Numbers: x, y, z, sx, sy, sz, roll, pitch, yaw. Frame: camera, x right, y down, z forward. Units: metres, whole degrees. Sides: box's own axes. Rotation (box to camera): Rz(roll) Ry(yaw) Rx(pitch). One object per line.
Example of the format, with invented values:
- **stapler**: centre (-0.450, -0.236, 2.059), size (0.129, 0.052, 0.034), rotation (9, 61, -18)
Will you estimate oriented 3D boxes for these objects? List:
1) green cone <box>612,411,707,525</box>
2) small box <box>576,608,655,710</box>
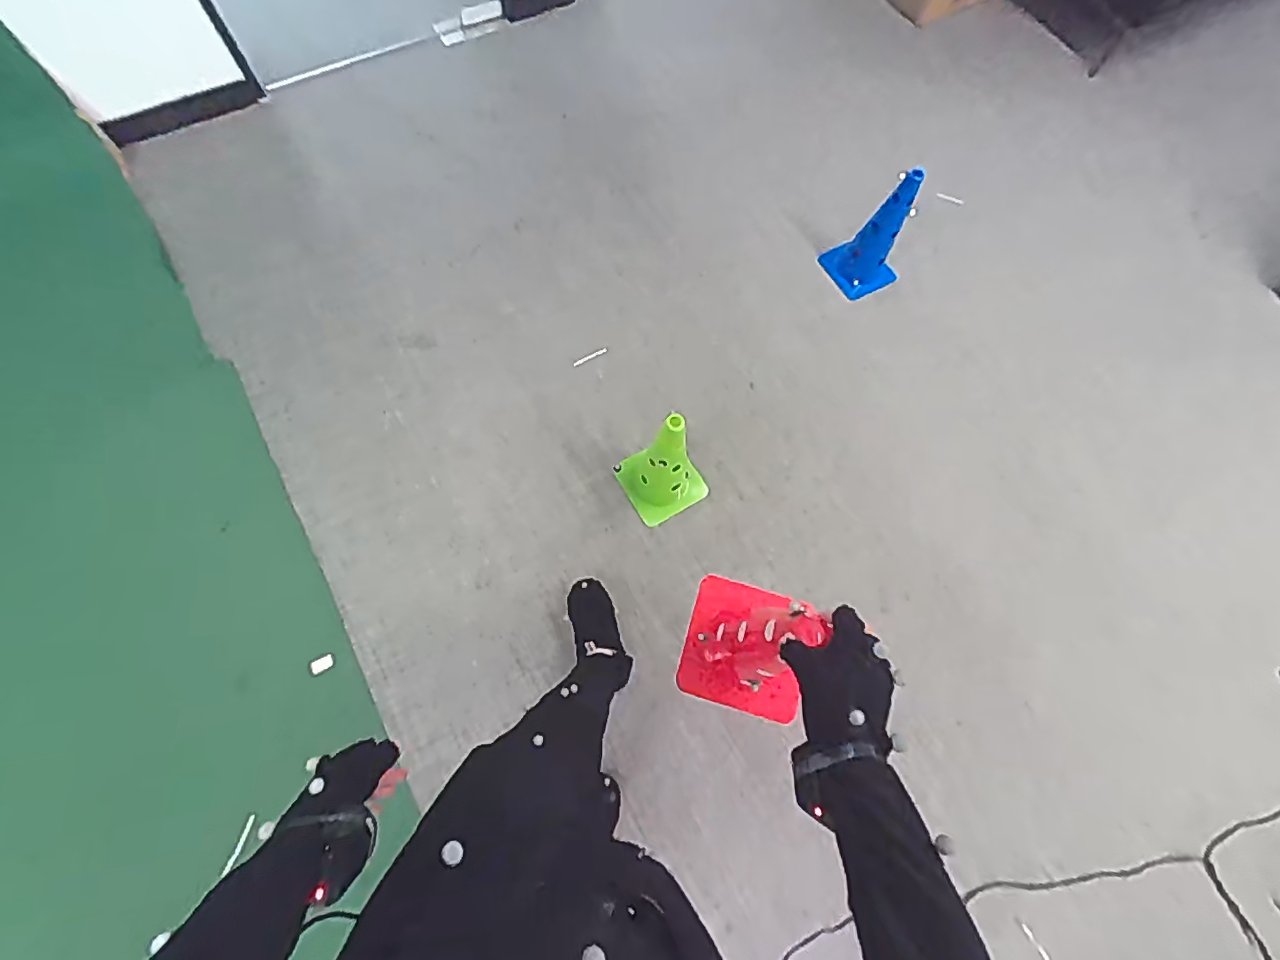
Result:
- **green cone**: centre (0.062, -0.059, 1.284), size (0.202, 0.368, 0.200), rotation (-30, 75, -14)
- **small box**: centre (-0.060, 0.402, 1.233), size (0.168, 0.176, 0.179), rotation (1, 93, -7)
